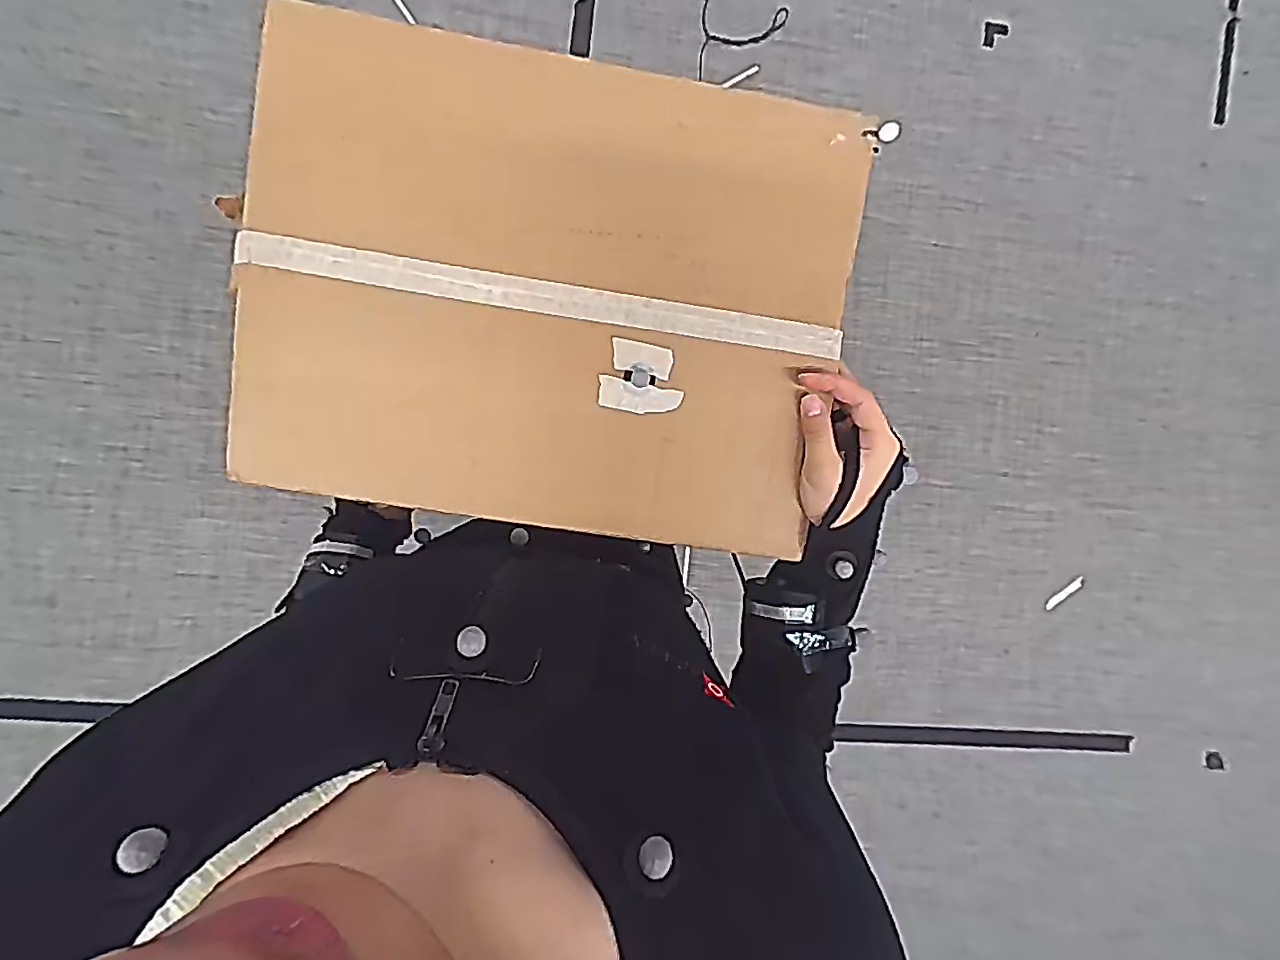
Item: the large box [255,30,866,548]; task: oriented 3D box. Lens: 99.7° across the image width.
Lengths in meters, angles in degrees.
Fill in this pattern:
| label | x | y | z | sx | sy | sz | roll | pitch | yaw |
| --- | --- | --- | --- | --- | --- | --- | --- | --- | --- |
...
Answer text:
| label | x | y | z | sx | sy | sz | roll | pitch | yaw |
| --- | --- | --- | --- | --- | --- | --- | --- | --- | --- |
| large box | -0.065 | -0.134 | 0.526 | 0.408 | 0.320 | 0.320 | 8 | 95 | -5 |
